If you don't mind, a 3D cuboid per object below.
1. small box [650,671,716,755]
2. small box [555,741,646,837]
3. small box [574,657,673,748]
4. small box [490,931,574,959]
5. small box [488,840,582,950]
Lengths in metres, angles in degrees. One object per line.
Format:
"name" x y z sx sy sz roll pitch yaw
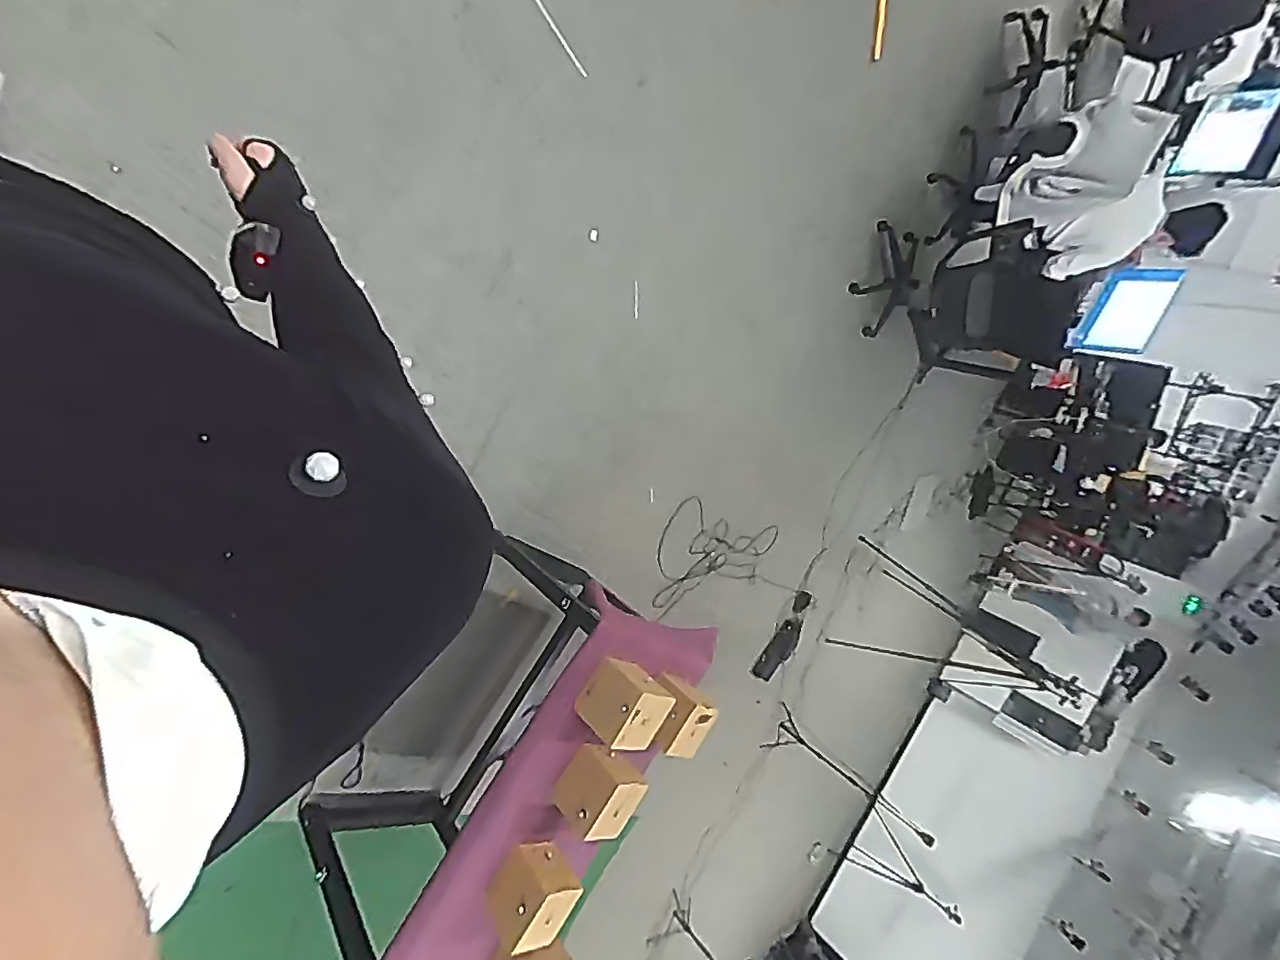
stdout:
"small box" 0.104 0.734 1.708 0.179 0.176 0.168 -56 138 -5
"small box" -0.121 0.895 1.570 0.179 0.176 0.168 -57 139 -6
"small box" -0.046 0.610 1.492 0.168 0.176 0.179 -58 140 -4
"small box" -0.343 1.495 1.665 0.179 0.176 0.168 -57 137 -7
"small box" -0.305 1.166 1.534 0.179 0.176 0.168 -57 138 -7
